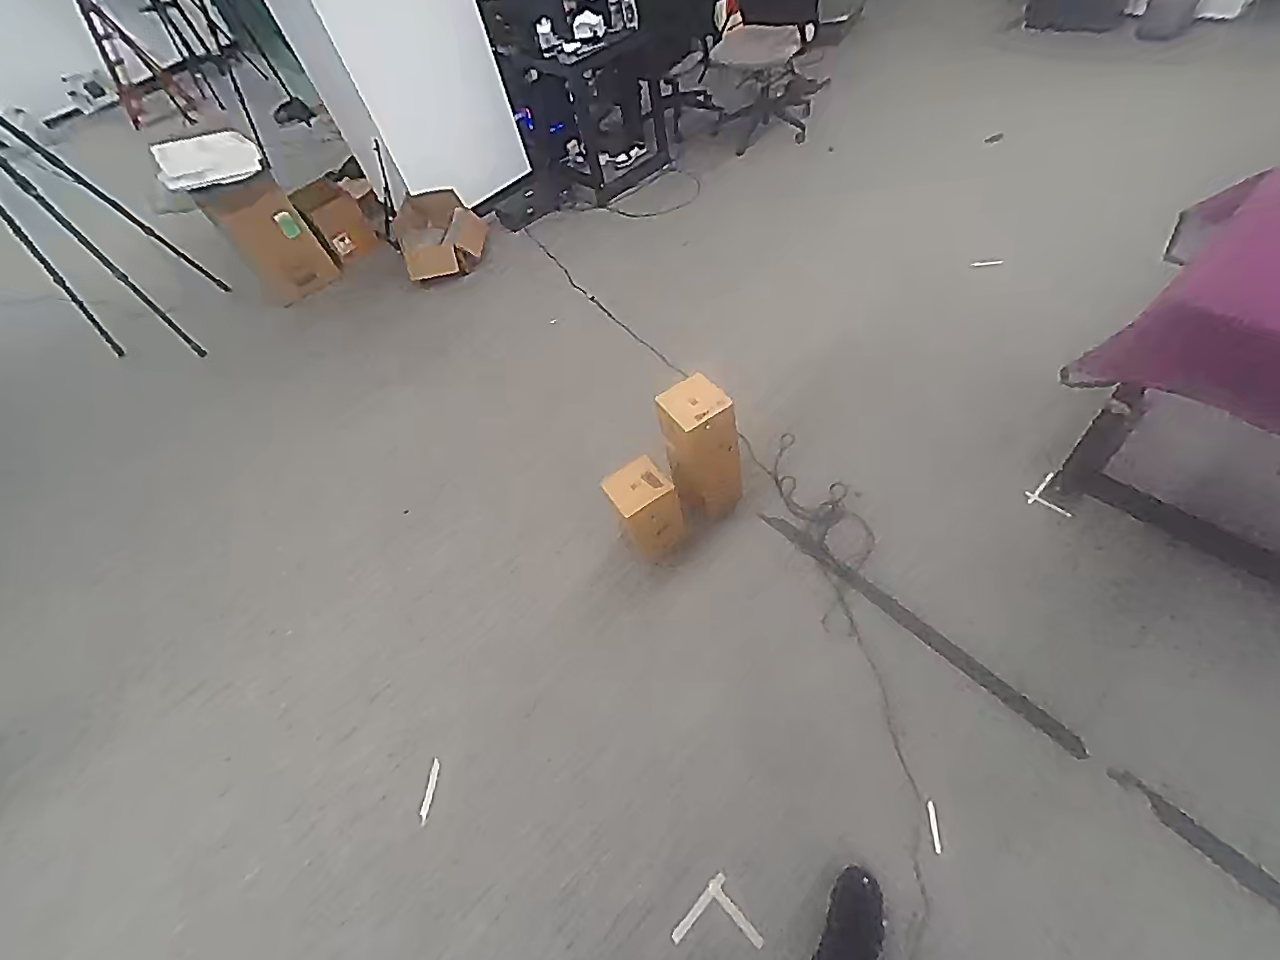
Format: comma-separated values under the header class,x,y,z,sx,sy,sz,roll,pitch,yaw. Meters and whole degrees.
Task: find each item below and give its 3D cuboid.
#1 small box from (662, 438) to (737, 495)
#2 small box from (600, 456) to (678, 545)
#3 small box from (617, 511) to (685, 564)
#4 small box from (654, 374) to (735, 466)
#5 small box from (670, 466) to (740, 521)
class,x,y,z,sx,sy,sz,roll,pitch,yaw
small box,0.198,-0.083,1.738,0.179,0.176,0.168,-38,55,-14
small box,0.004,0.065,1.671,0.179,0.176,0.168,-33,54,-10
small box,0.032,0.147,1.811,0.168,0.176,0.179,-36,55,-12
small box,0.165,-0.176,1.606,0.168,0.176,0.179,-32,53,-10
small box,0.228,0.011,1.867,0.168,0.176,0.179,-40,56,-15
